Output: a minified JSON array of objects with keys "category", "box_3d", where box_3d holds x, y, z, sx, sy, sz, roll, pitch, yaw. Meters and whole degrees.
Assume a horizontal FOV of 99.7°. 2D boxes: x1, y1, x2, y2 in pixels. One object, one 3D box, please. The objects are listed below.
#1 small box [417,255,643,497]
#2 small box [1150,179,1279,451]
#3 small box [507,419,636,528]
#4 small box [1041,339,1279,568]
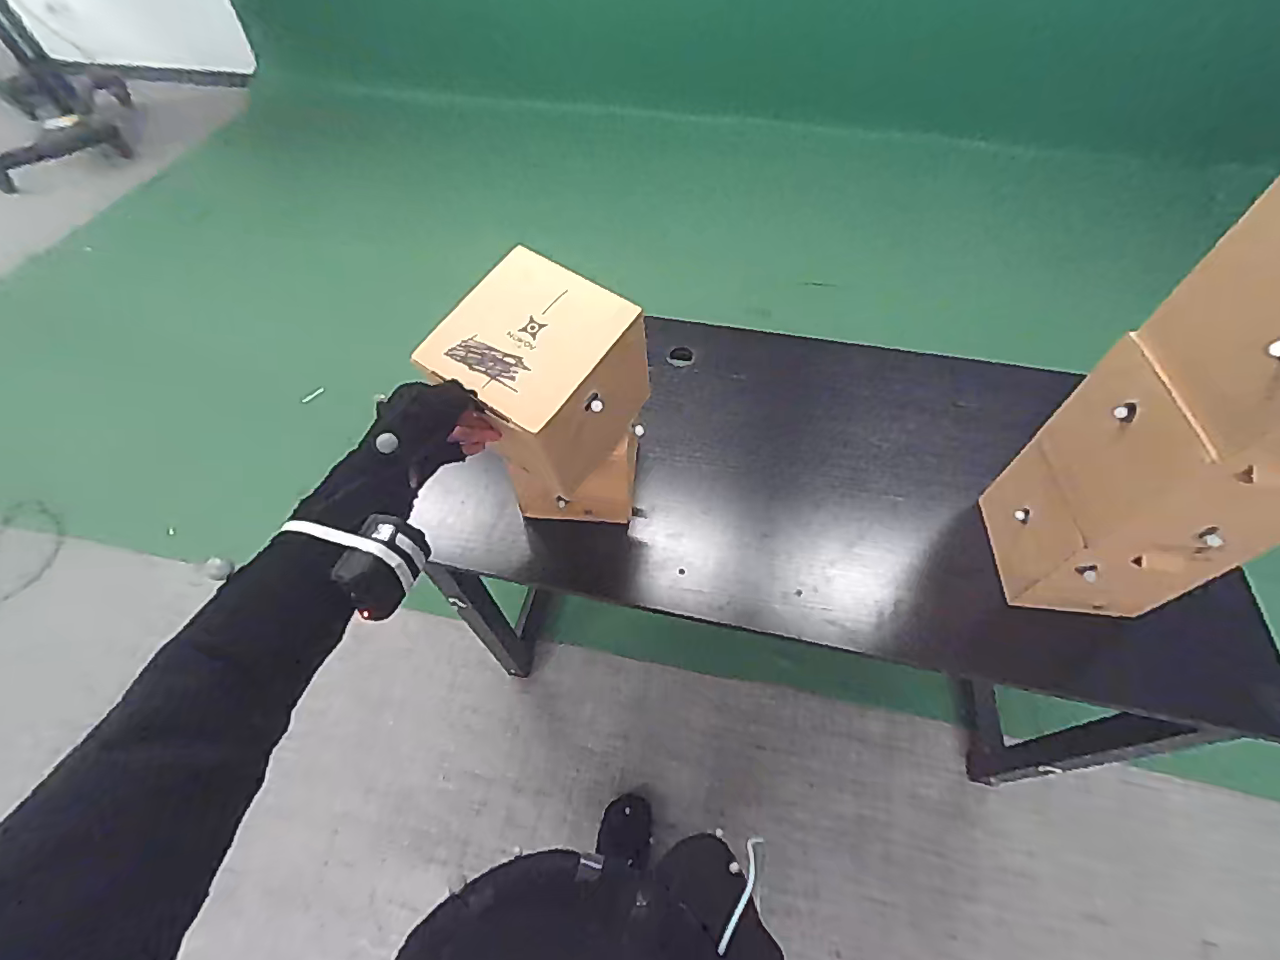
[{"category":"small box","box_3d":[-0.106,-0.108,0.617,0.168,0.176,0.179,32,72,15]},{"category":"small box","box_3d":[0.585,-0.129,0.432,0.168,0.176,0.179,4,54,3]},{"category":"small box","box_3d":[-0.093,-0.049,0.810,0.168,0.176,0.179,3,56,2]},{"category":"small box","box_3d":[0.581,-0.026,0.580,0.168,0.176,0.179,3,55,4]}]
